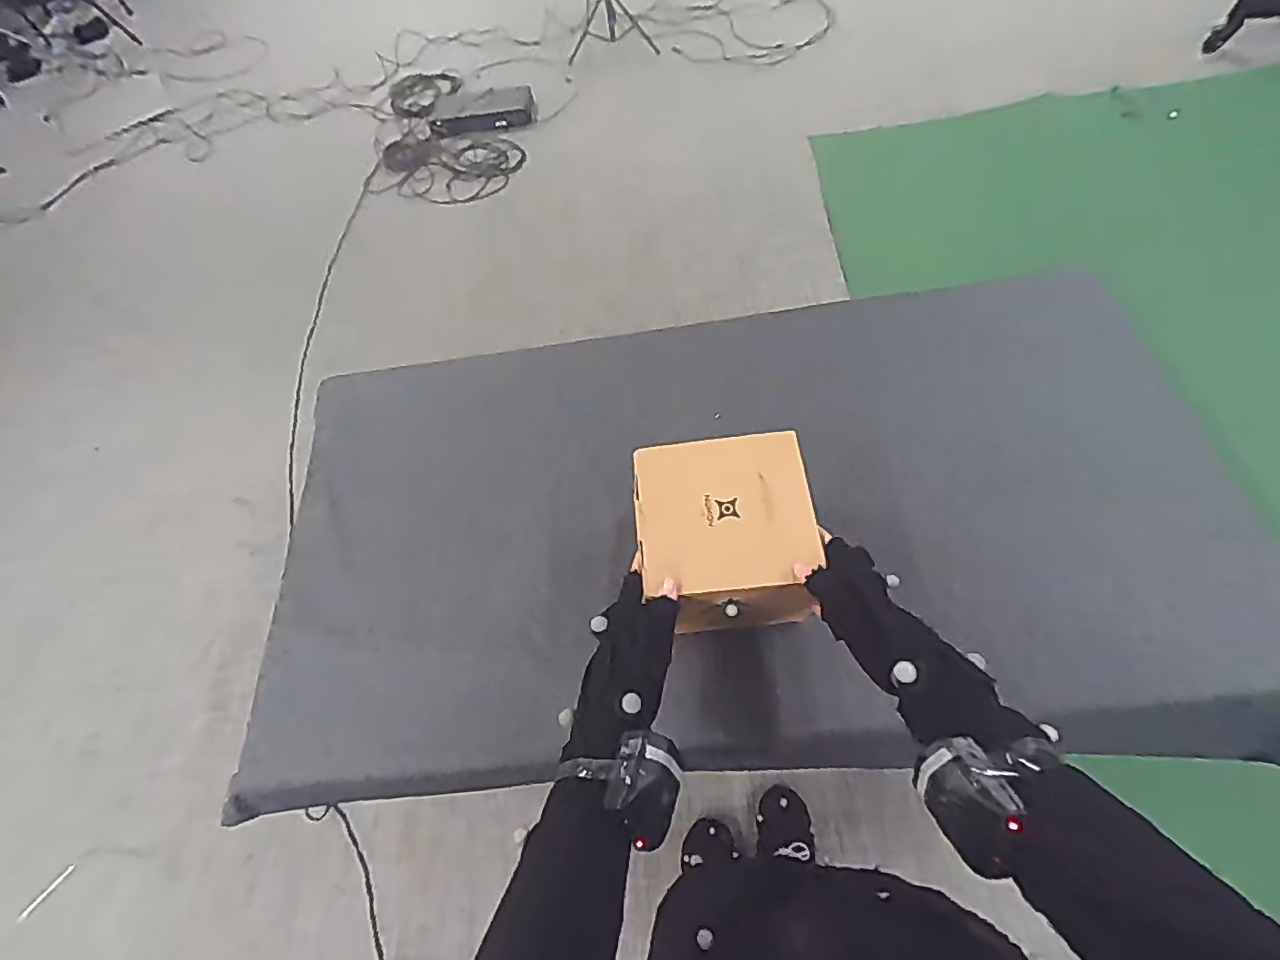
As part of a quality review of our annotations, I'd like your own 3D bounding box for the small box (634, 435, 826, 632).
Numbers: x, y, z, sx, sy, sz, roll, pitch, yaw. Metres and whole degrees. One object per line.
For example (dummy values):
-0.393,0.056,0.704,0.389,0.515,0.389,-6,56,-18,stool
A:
0.095,0.071,0.622,0.179,0.176,0.168,-7,62,3,small box
